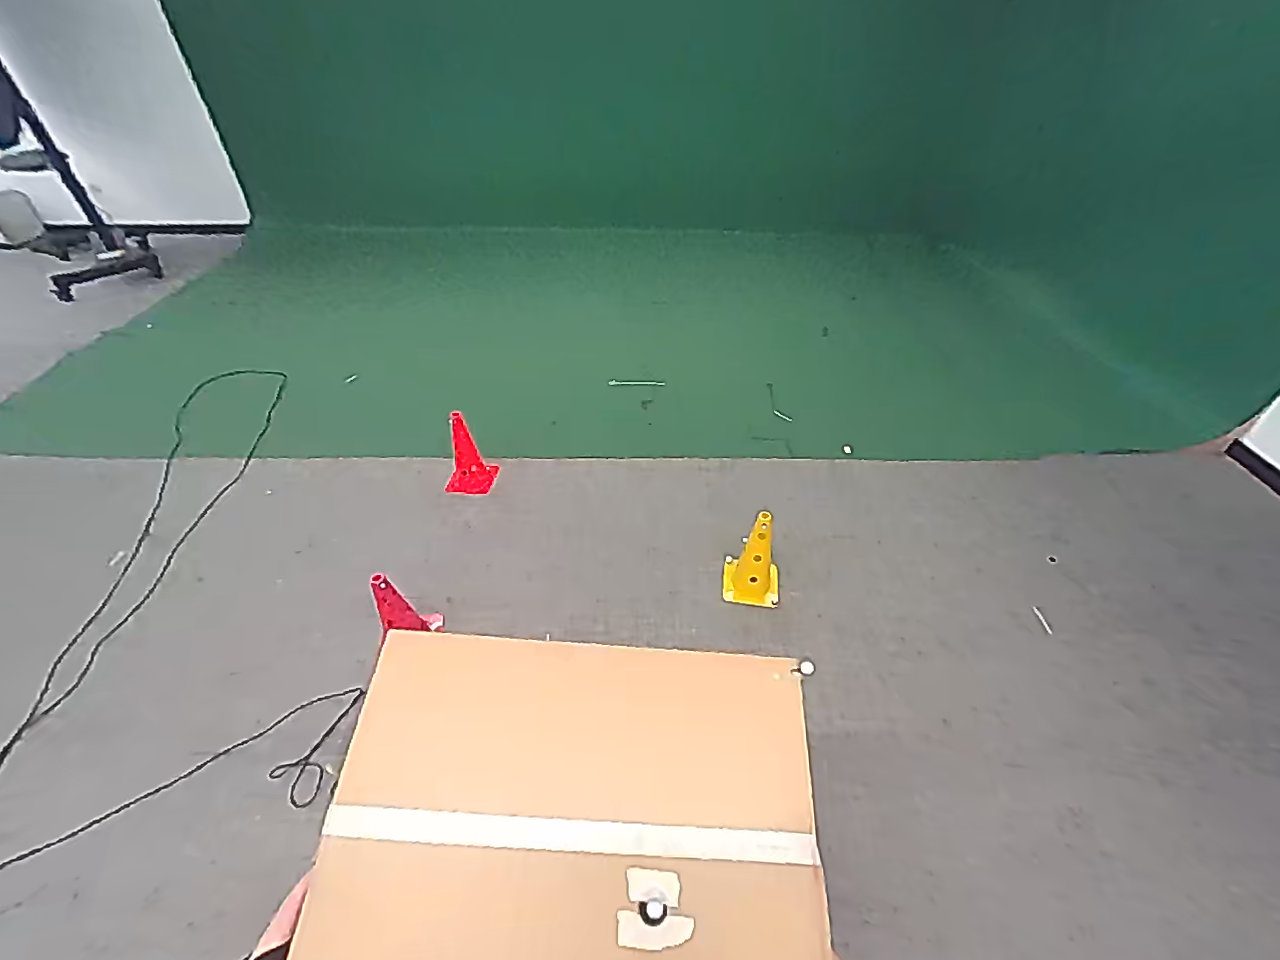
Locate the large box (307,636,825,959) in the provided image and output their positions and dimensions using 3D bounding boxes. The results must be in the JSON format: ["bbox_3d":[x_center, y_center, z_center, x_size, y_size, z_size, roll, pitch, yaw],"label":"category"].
[{"bbox_3d":[-0.059,0.377,0.583,0.408,0.320,0.320,4,58,-1],"label":"large box"}]

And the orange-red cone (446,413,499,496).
[{"bbox_3d":[-0.756,-0.128,2.324,0.199,0.360,0.198,4,41,7],"label":"orange-red cone"}]
